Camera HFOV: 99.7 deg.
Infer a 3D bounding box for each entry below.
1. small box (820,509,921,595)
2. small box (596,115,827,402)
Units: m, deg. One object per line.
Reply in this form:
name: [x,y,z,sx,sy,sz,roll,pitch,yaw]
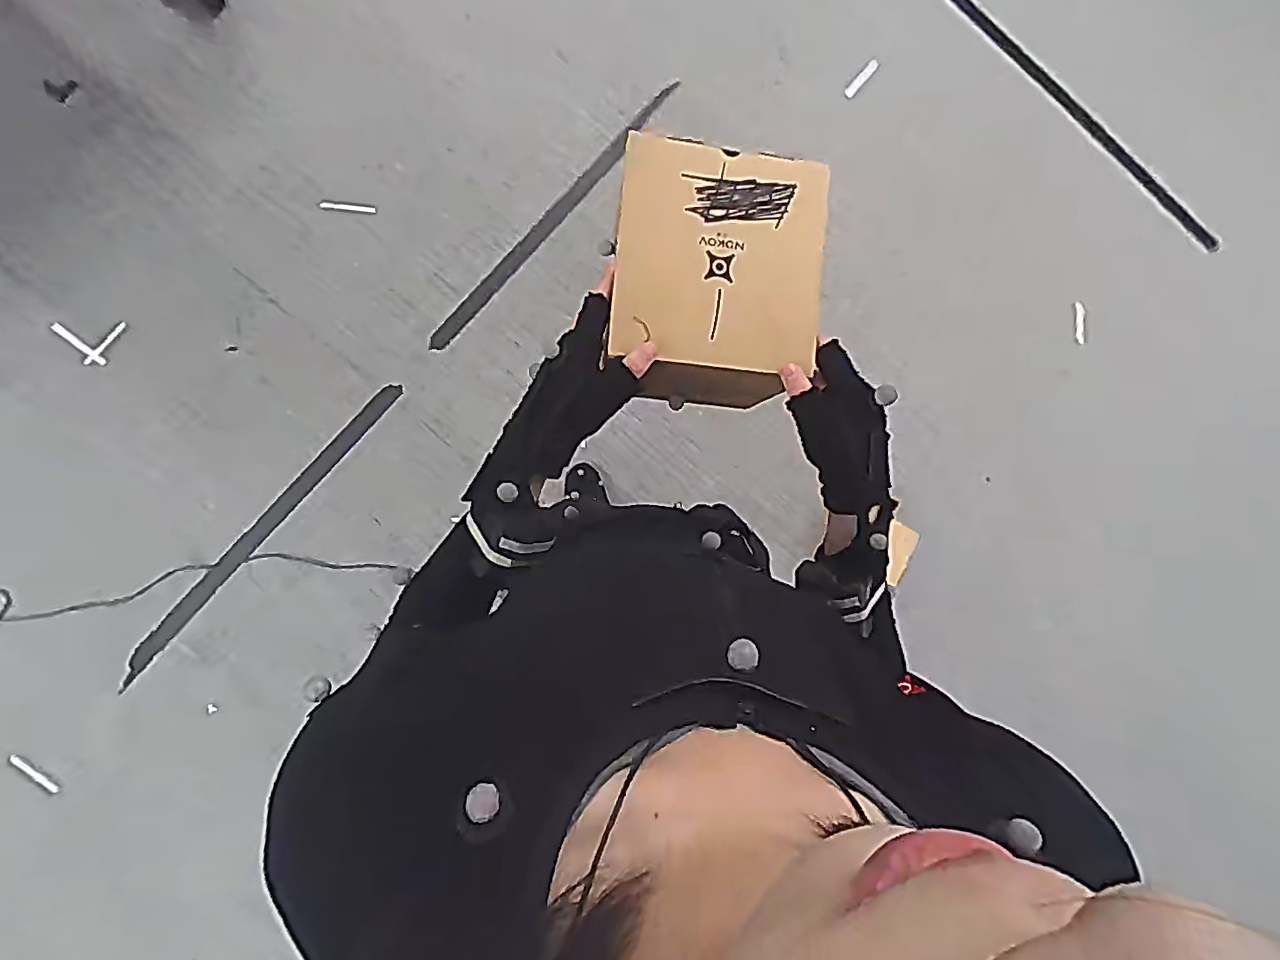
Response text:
small box: [0.630,0.194,1.506,0.168,0.176,0.179,29,84,-6]
small box: [0.050,-0.177,0.487,0.168,0.176,0.179,5,89,-6]
